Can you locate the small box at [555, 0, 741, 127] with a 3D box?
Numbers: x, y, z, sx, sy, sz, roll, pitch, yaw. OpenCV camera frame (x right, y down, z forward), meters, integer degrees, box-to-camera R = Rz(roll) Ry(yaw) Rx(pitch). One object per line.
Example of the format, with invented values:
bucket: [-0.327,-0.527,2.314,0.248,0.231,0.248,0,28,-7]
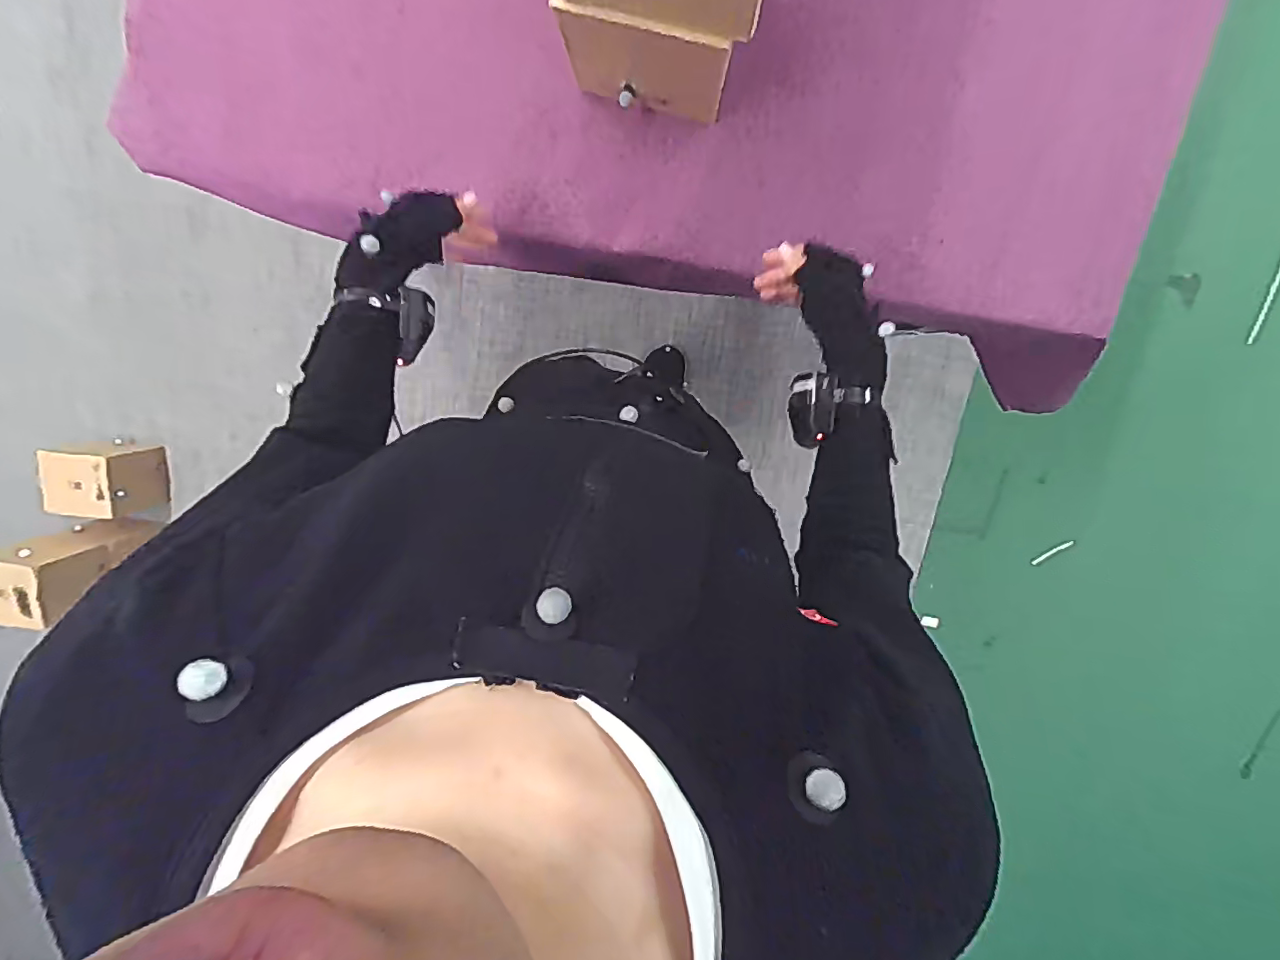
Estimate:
small box: [0.026,-0.491,0.532,0.168,0.176,0.179,14,104,0]

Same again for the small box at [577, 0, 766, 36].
small box: [0.027,-0.456,0.374,0.179,0.176,0.168,12,103,0]

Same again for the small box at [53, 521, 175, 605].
small box: [-1.449,0.223,1.498,0.179,0.176,0.168,8,104,0]

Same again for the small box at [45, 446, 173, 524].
small box: [-1.409,0.006,1.445,0.179,0.176,0.168,6,104,1]

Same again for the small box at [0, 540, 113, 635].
small box: [-1.462,0.259,1.339,0.179,0.176,0.168,8,103,1]
